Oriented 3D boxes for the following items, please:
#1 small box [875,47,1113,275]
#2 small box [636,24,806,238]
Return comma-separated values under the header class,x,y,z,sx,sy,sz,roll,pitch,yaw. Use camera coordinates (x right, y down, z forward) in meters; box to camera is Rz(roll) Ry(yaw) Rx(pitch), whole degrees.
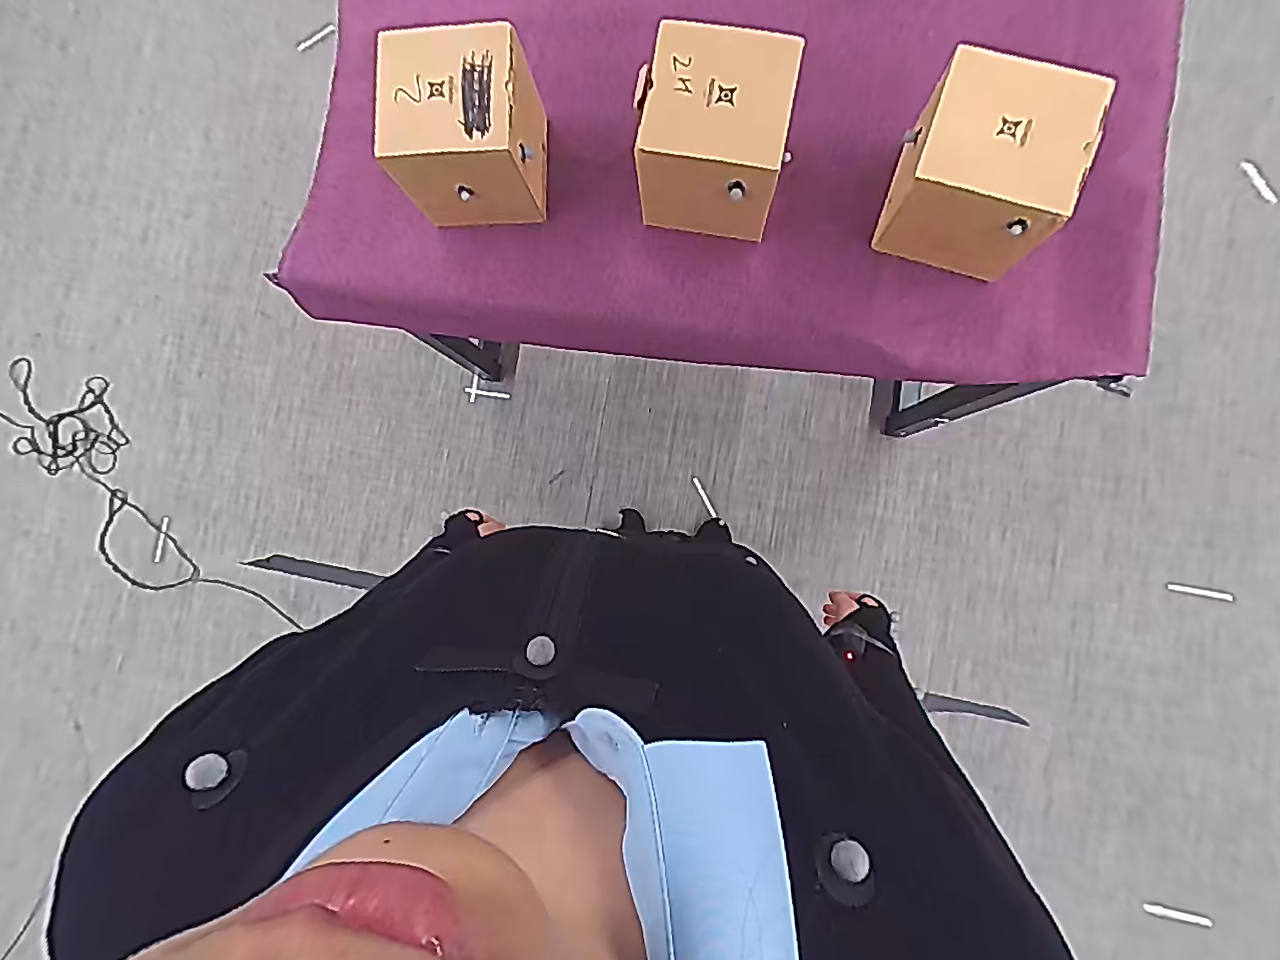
class,x,y,z,sx,sy,sz,roll,pitch,yaw
small box,0.425,-0.386,0.684,0.179,0.176,0.168,19,88,6
small box,0.102,-0.446,0.717,0.179,0.176,0.168,11,87,6
